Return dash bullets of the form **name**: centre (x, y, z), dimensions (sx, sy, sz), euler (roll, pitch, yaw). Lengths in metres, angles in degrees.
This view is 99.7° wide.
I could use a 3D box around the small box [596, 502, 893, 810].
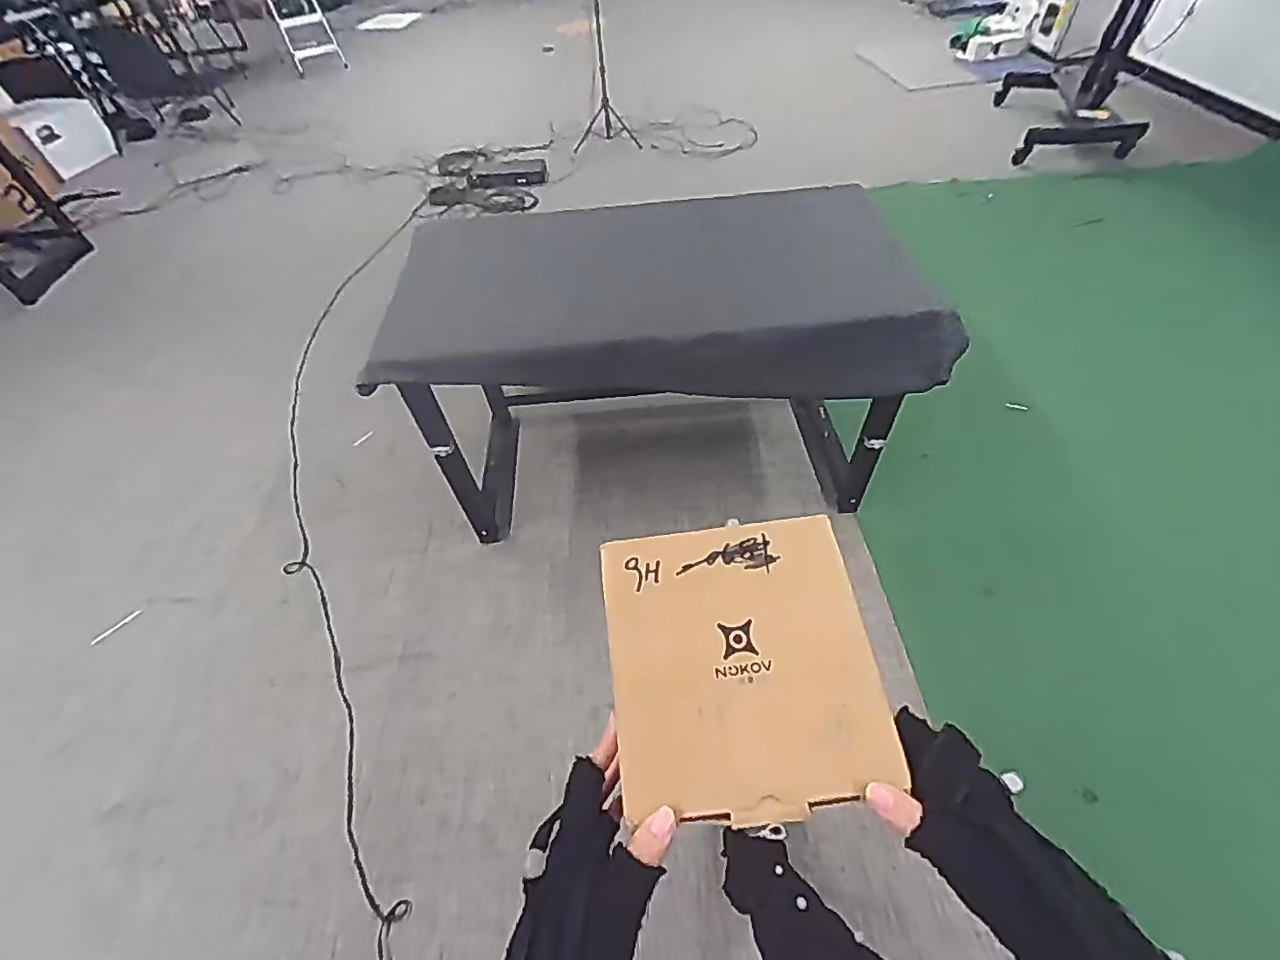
- **small box**: centre (0.064, 0.137, 0.422), dimensions (0.168, 0.176, 0.179), euler (-8, 64, 0)
